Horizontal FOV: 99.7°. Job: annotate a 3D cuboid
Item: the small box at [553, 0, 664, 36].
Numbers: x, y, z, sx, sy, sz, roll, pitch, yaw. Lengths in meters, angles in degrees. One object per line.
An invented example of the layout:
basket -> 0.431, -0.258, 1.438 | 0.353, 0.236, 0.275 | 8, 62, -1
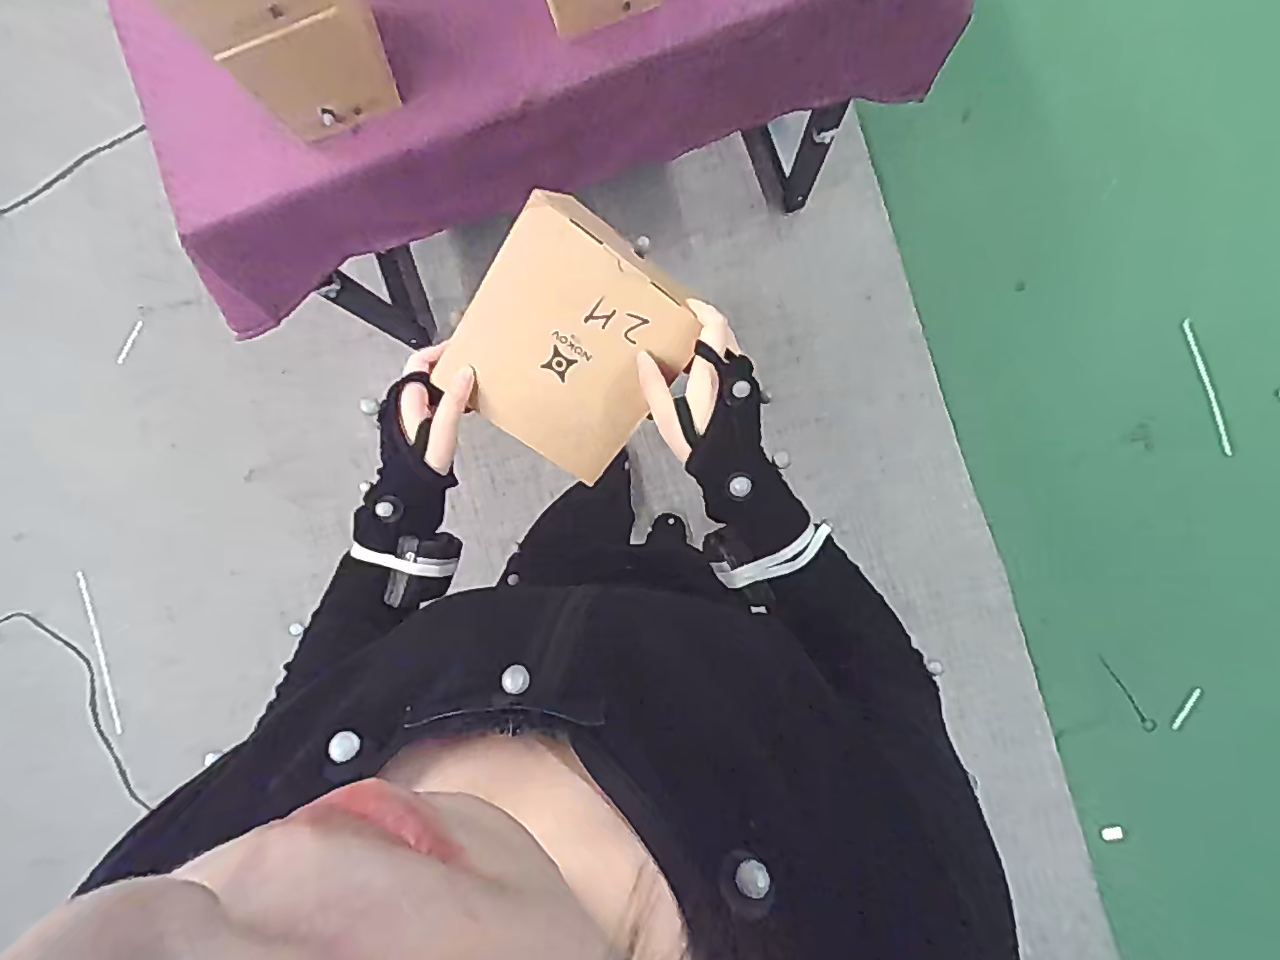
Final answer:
small box -> -0.066, -0.762, 0.723 | 0.168, 0.176, 0.179 | -19, 87, 4

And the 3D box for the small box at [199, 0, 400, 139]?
small box -> -0.463, -0.623, 0.743 | 0.168, 0.176, 0.179 | -17, 87, 3
